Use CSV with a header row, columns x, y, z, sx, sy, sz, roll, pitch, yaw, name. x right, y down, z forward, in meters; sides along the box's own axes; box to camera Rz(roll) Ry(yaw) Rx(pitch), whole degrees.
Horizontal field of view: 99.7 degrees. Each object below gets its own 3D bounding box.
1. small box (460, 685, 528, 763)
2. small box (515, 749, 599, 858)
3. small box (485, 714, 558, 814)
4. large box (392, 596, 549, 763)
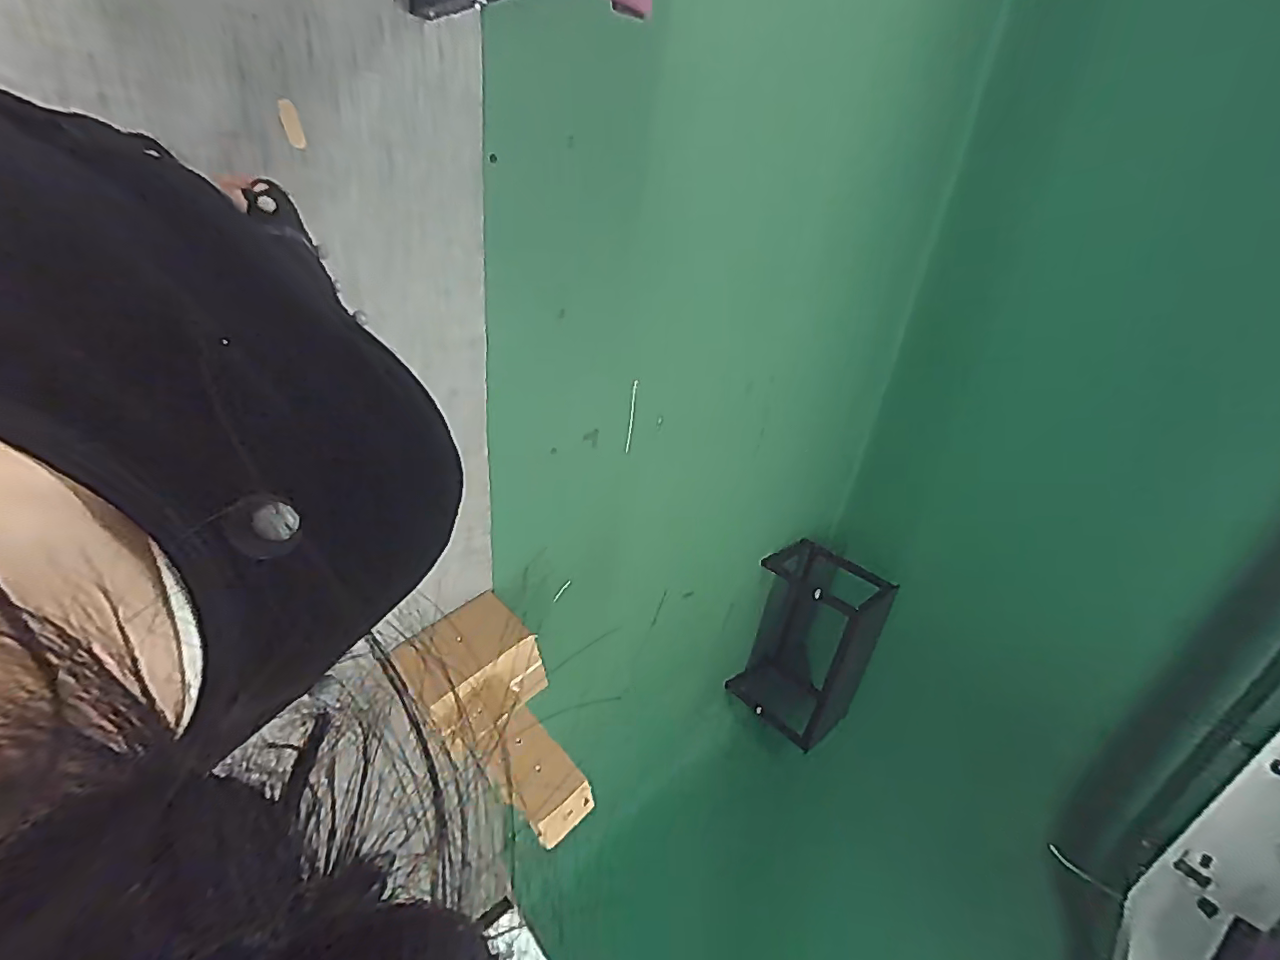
x,y,z,sx,sy,sz,roll,pitch,yaw,name
-0.469,0.807,1.776,0.168,0.176,0.179,-31,132,-32,small box
-0.245,0.936,1.573,0.179,0.176,0.168,-30,132,-31,small box
-0.359,0.873,1.674,0.179,0.176,0.168,-32,133,-31,small box
-0.603,0.706,1.958,0.408,0.320,0.320,-33,135,-32,large box
